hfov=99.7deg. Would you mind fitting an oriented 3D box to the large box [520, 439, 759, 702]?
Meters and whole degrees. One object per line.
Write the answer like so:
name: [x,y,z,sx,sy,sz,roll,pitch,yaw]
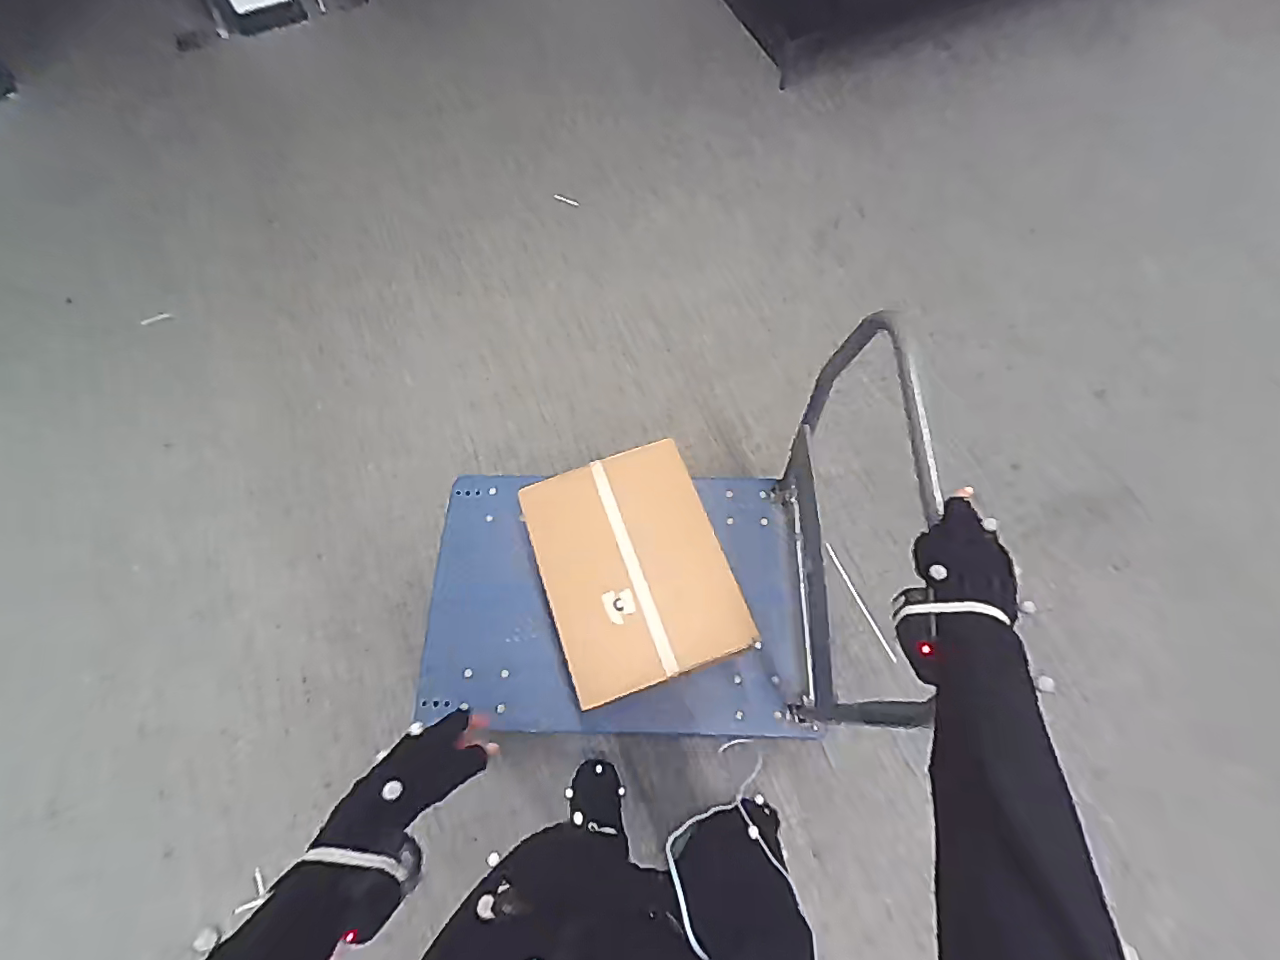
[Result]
large box: [-0.011,0.193,1.098,0.320,0.320,0.408,-20,69,-6]
